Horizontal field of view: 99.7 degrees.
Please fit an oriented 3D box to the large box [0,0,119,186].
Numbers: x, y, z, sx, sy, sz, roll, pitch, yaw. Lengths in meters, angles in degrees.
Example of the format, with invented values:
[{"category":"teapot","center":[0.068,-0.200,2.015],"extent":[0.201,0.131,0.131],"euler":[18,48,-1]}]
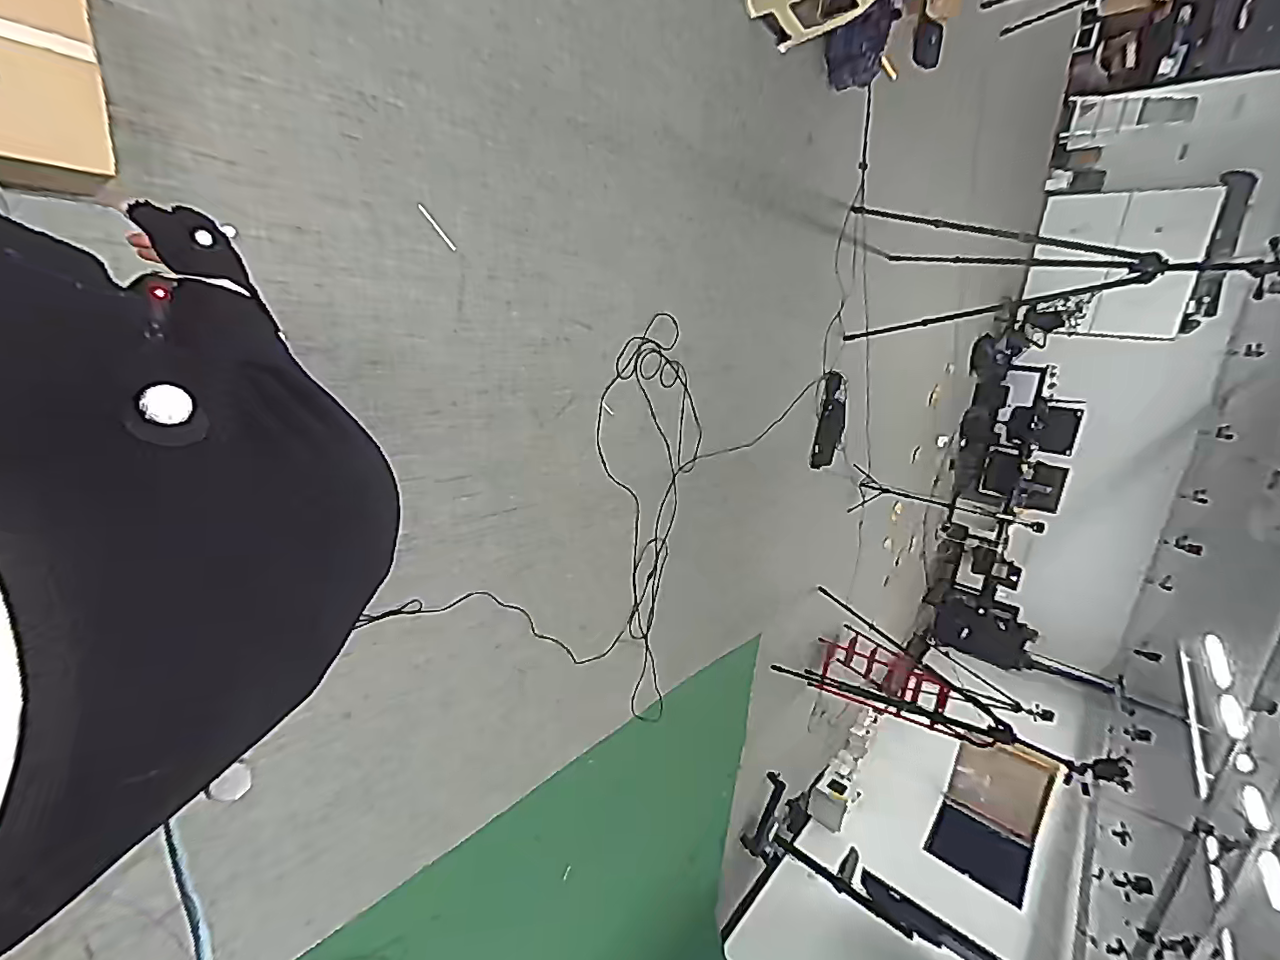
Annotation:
[{"category":"large box","center":[-1.023,-0.621,0.728],"extent":[0.408,0.320,0.320],"euler":[-14,115,-47]}]
